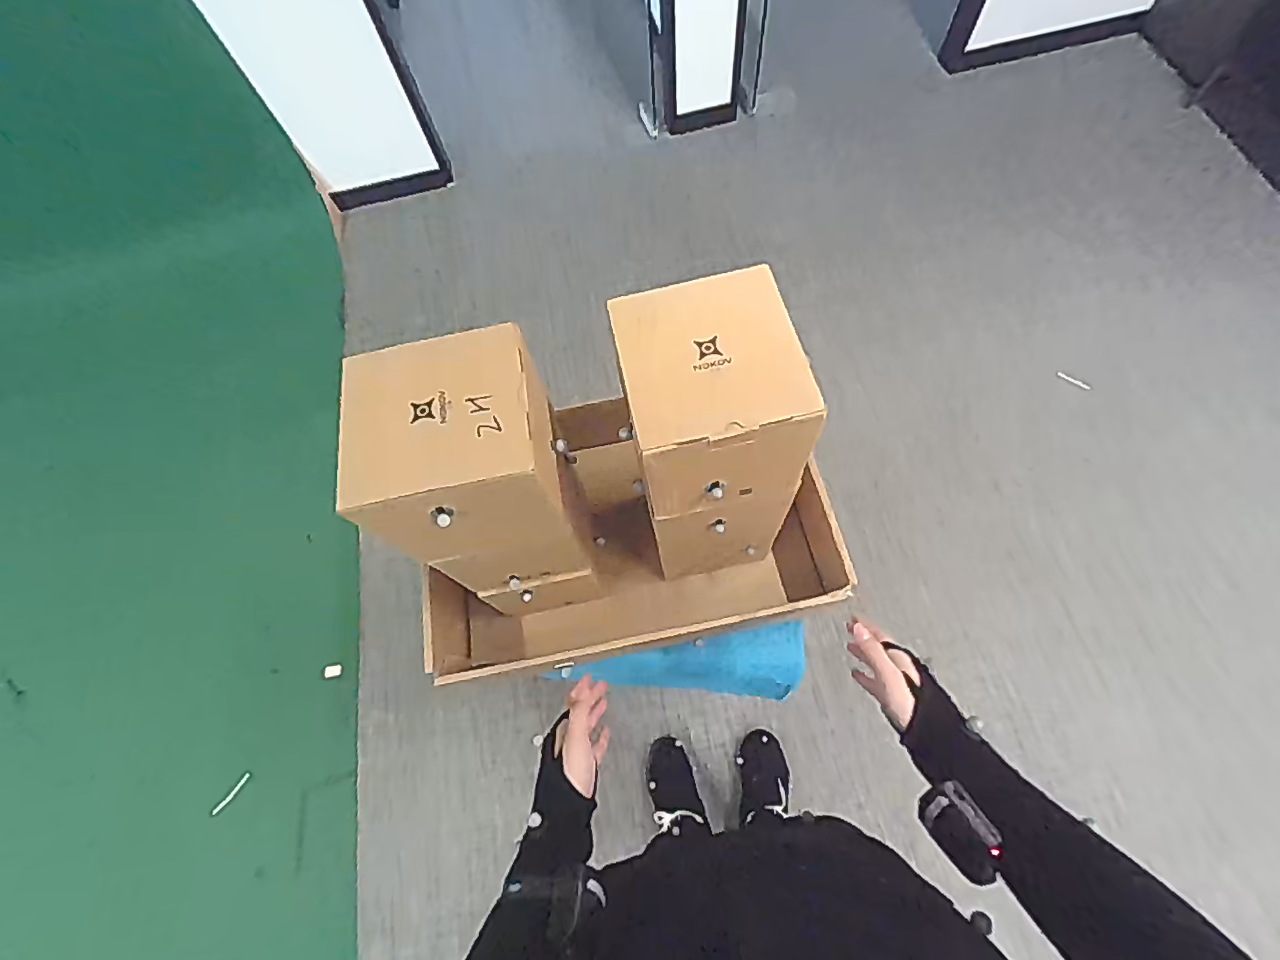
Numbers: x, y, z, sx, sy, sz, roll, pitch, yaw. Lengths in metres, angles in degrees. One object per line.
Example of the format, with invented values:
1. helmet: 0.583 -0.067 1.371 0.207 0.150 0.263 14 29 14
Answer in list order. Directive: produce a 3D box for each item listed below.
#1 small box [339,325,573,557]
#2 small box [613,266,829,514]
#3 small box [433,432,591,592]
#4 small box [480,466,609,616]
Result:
1. small box: -0.179 -0.029 0.566 0.179 0.176 0.168 -11 66 0
2. small box: 0.073 -0.084 0.566 0.168 0.176 0.179 -13 66 0
3. small box: -0.166 0.033 0.718 0.168 0.176 0.179 -12 66 -1
4. small box: -0.151 0.103 0.864 0.168 0.176 0.179 -12 65 0
